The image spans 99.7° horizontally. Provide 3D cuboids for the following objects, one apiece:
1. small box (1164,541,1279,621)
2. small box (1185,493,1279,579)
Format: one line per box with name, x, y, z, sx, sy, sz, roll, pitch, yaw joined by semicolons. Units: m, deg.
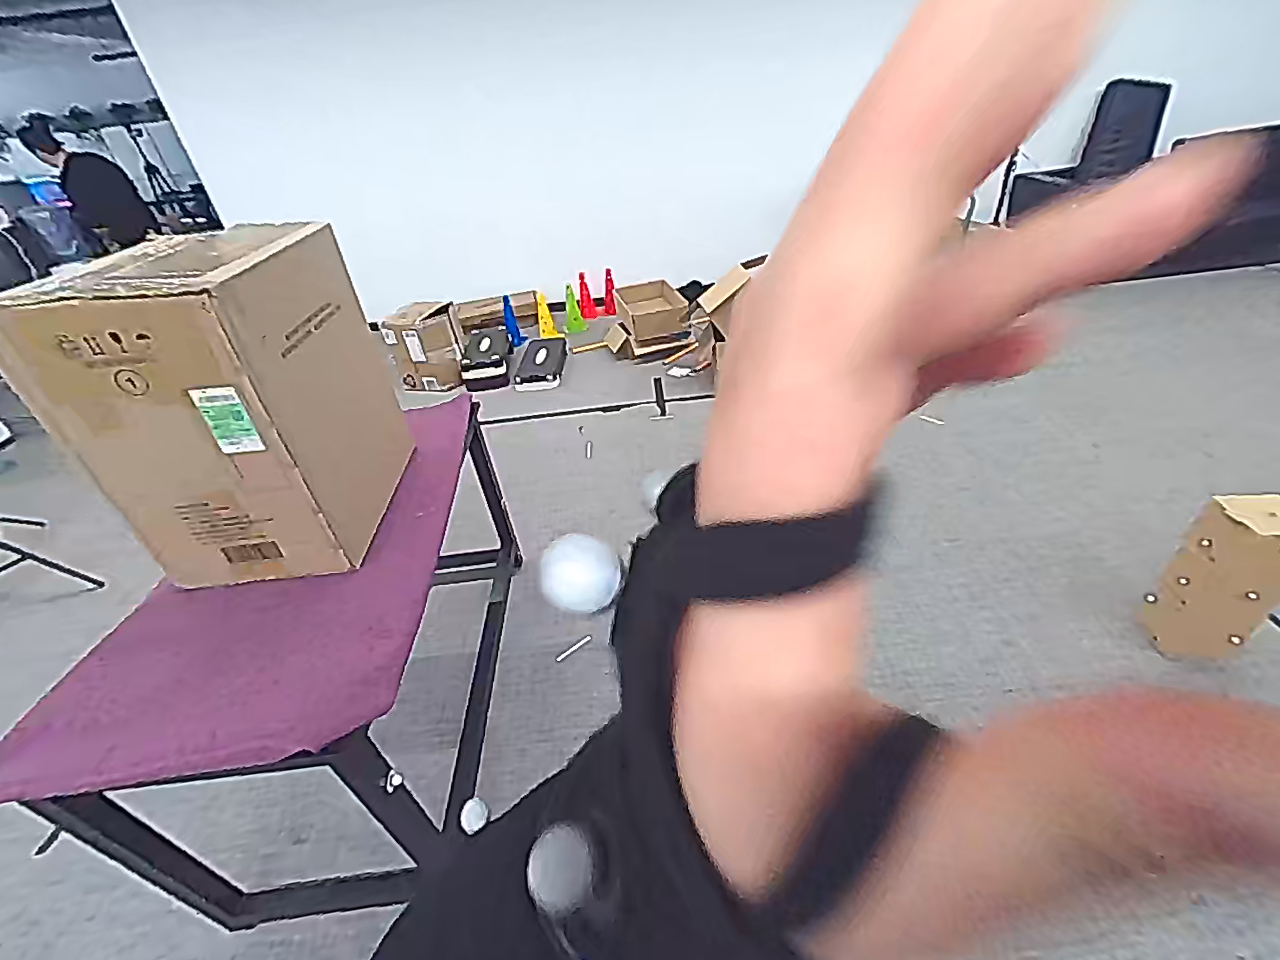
small box;1.668;0.287;1.549;0.179;0.176;0.168;-2;36;6
small box;1.655;0.152;1.459;0.179;0.176;0.168;-2;35;6
